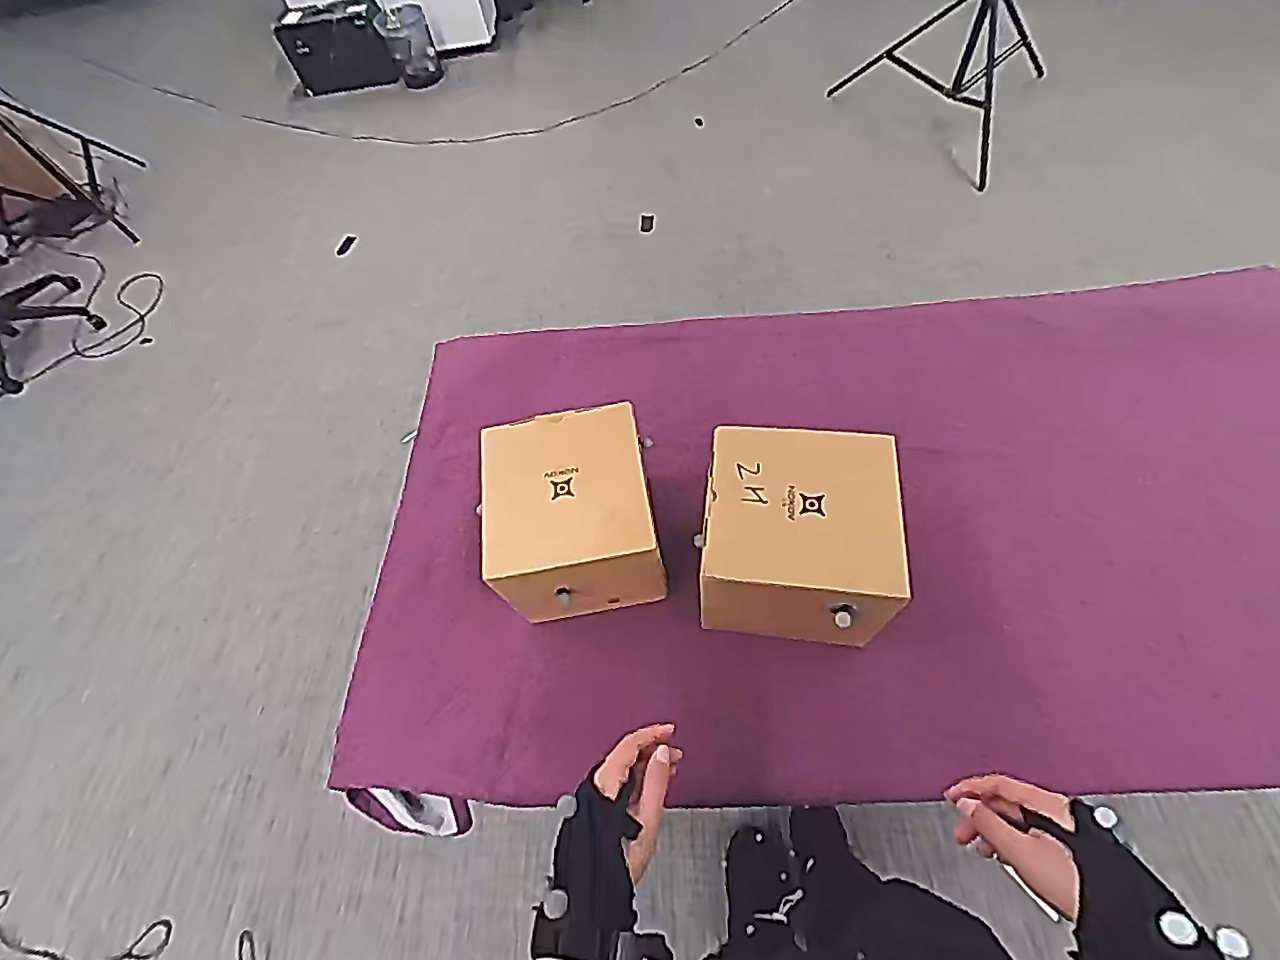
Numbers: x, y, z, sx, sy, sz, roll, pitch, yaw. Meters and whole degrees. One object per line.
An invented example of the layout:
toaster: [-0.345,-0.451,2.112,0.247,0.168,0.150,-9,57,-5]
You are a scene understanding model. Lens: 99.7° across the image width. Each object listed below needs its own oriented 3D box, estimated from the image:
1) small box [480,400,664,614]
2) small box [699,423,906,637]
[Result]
small box: [-0.071,0.041,0.612,0.168,0.176,0.179,-12,60,1]
small box: [0.157,0.059,0.571,0.179,0.176,0.168,4,60,10]
